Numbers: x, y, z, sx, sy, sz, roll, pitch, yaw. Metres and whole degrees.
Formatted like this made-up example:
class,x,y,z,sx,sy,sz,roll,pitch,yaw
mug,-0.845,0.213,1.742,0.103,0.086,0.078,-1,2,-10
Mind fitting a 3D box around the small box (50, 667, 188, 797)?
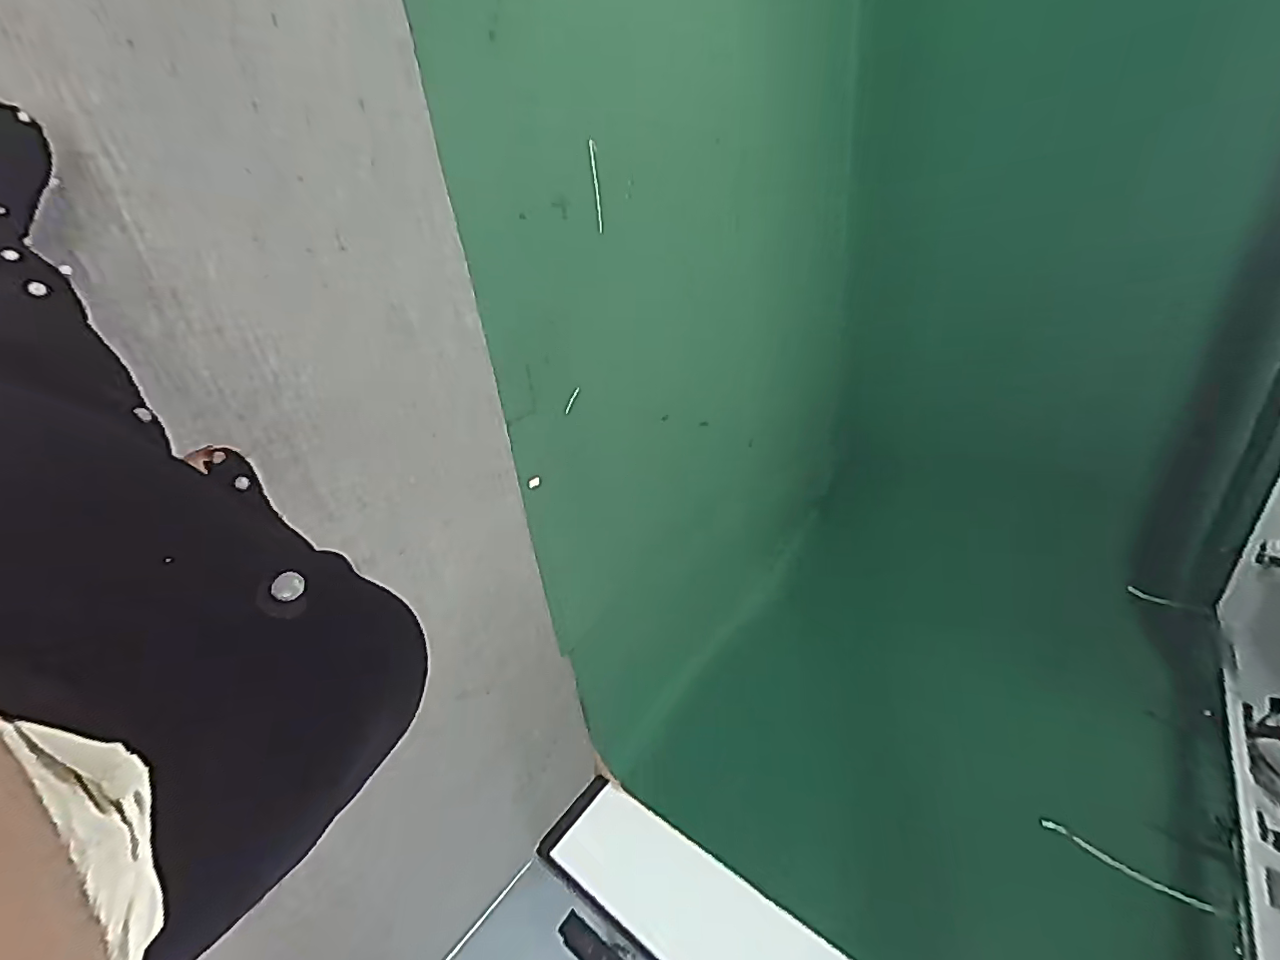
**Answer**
class,x,y,z,sx,sy,sz,roll,pitch,yaw
small box,-1.200,0.569,1.247,0.179,0.176,0.168,-30,125,-41
